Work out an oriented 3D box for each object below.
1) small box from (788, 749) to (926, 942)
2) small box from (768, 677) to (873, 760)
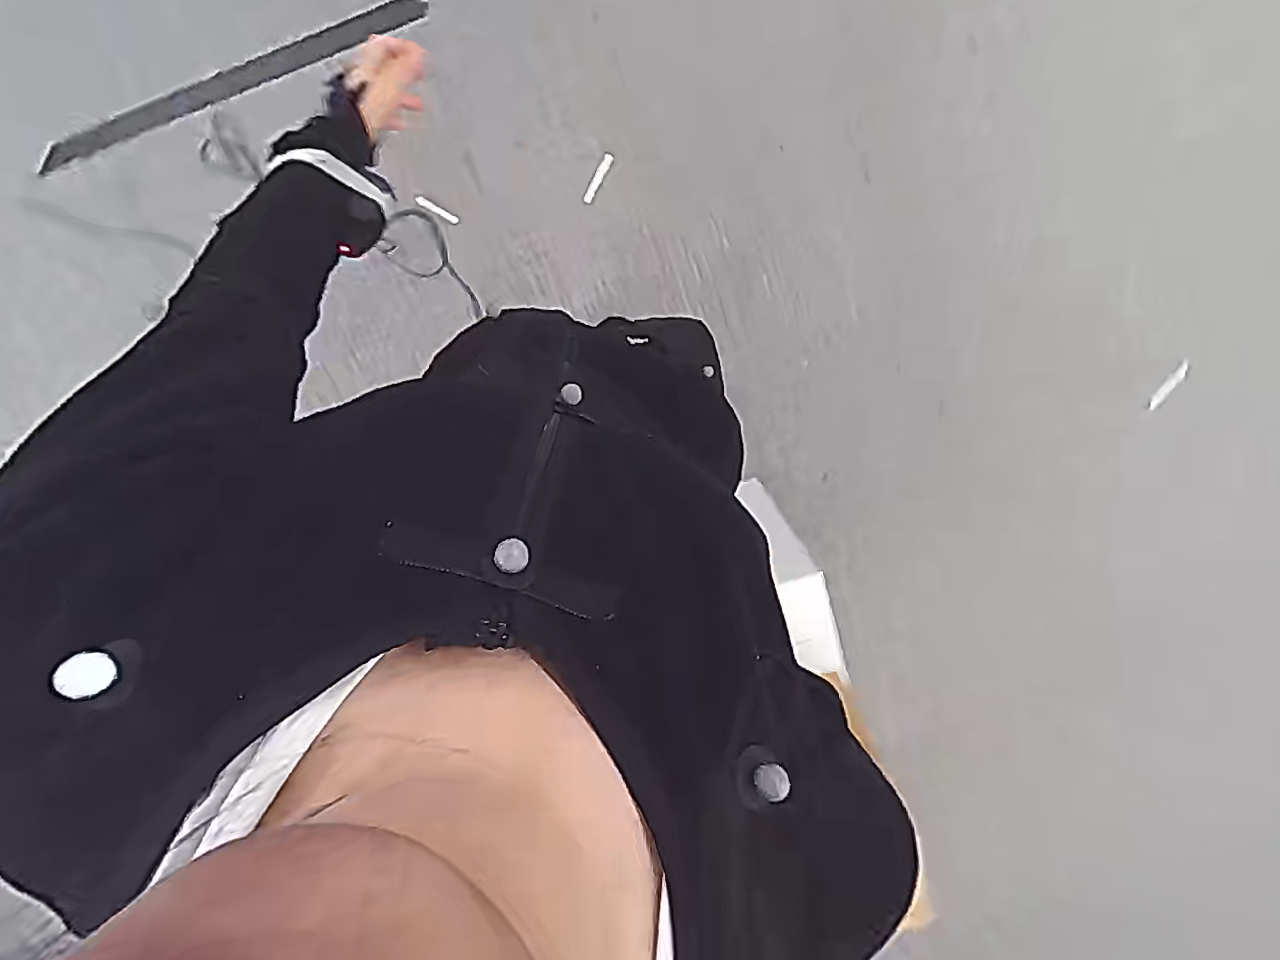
[{"bbox_3d":[0.303,0.538,0.819,0.168,0.176,0.179,-14,107,5],"label":"small box"},{"bbox_3d":[0.308,0.478,0.972,0.168,0.176,0.179,-13,108,5],"label":"small box"}]
